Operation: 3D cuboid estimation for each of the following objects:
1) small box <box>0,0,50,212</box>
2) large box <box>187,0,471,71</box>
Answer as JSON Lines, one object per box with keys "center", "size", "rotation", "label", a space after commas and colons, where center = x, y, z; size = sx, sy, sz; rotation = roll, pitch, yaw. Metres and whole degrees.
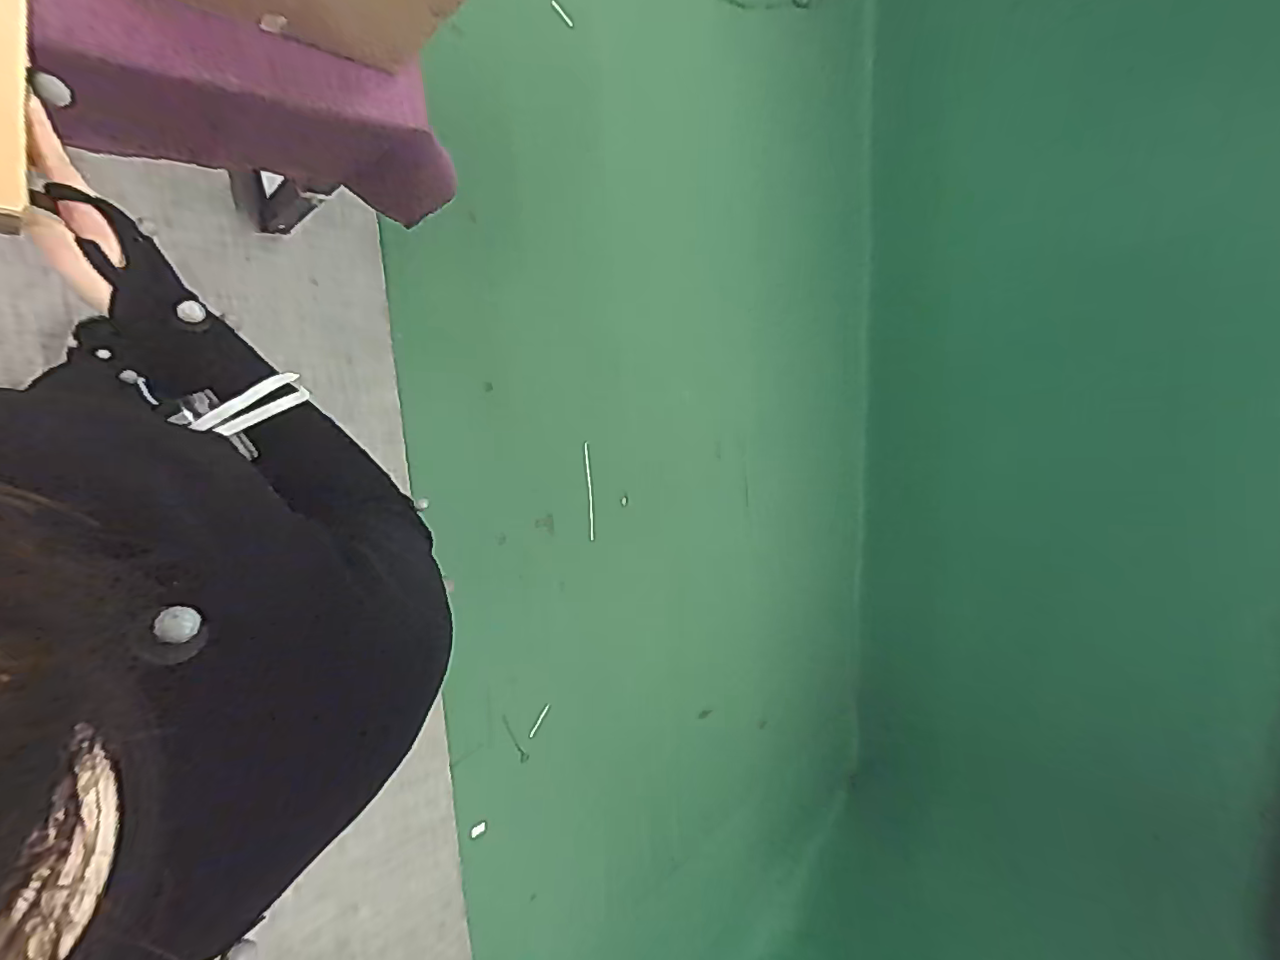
{"center": [-0.439, -0.262, 0.283], "size": [0.168, 0.176, 0.179], "rotation": [0, 105, -51], "label": "small box"}
{"center": [-0.348, -0.722, 0.513], "size": [0.320, 0.320, 0.408], "rotation": [-14, 106, -44], "label": "large box"}
